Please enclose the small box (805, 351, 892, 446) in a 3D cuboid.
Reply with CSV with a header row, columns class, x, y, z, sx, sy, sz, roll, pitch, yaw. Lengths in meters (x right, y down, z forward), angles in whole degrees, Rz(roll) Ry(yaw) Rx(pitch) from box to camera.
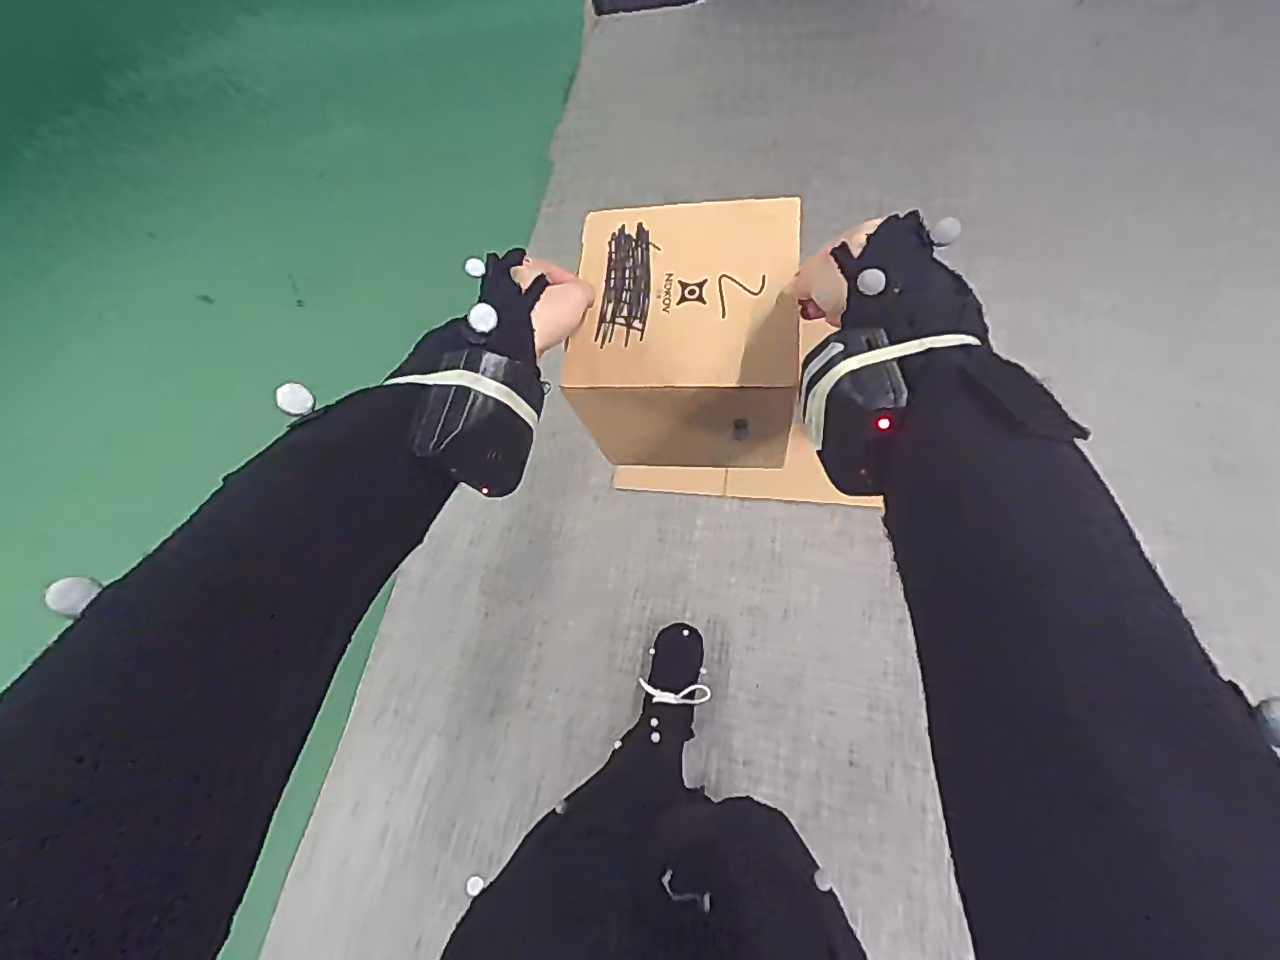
class,x,y,z,sx,sy,sz,roll,pitch,yaw
small box,0.499,-0.193,1.308,0.179,0.176,0.168,6,67,13
